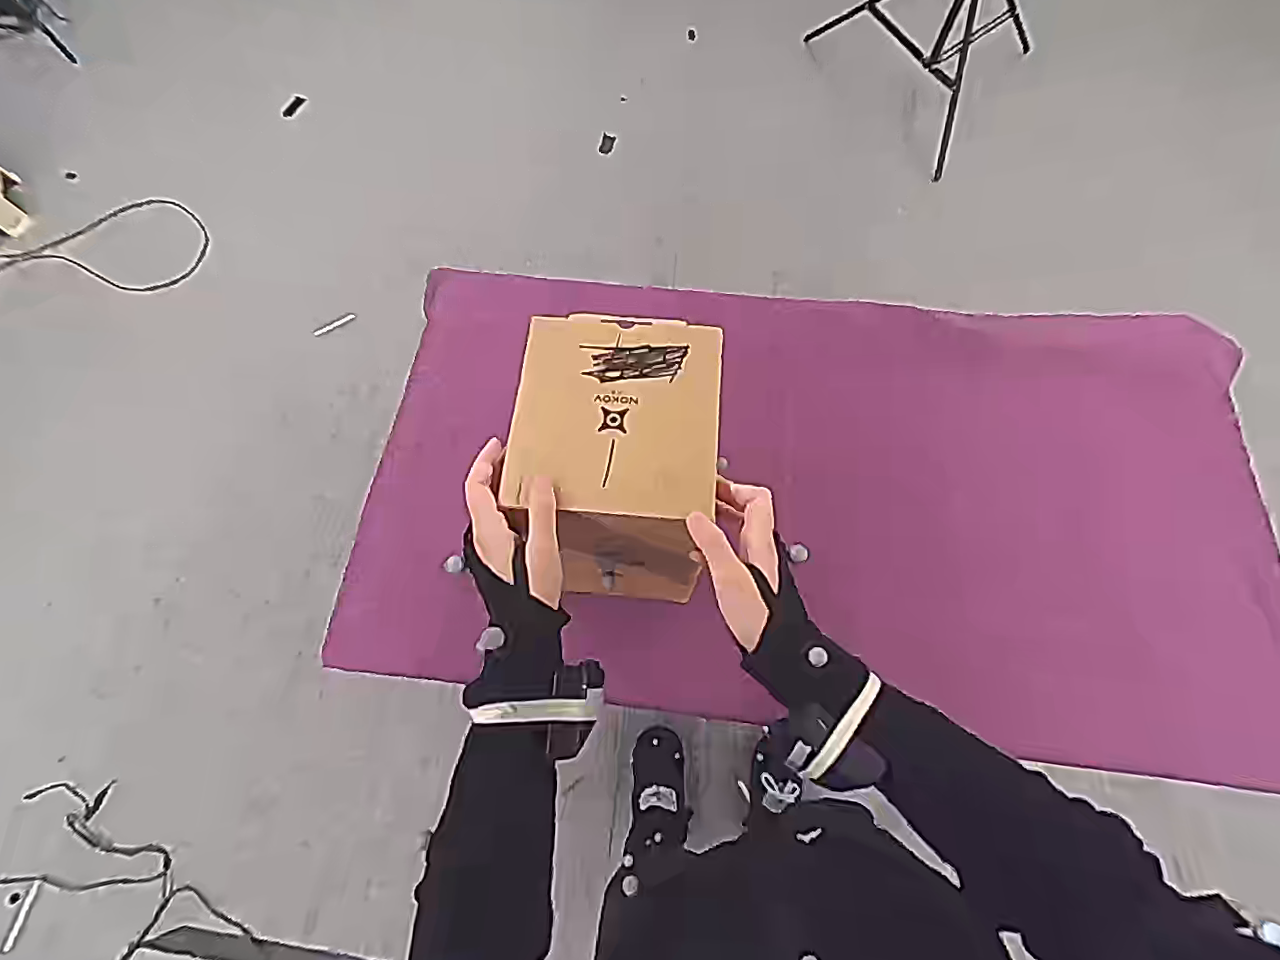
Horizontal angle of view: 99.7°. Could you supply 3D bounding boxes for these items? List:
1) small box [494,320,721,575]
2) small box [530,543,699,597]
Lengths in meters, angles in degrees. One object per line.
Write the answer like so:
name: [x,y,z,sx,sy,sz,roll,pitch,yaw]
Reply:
small box: [-0.020,-0.021,0.507,0.168,0.176,0.179,5,68,3]
small box: [-0.018,0.043,0.658,0.179,0.176,0.168,5,68,4]
